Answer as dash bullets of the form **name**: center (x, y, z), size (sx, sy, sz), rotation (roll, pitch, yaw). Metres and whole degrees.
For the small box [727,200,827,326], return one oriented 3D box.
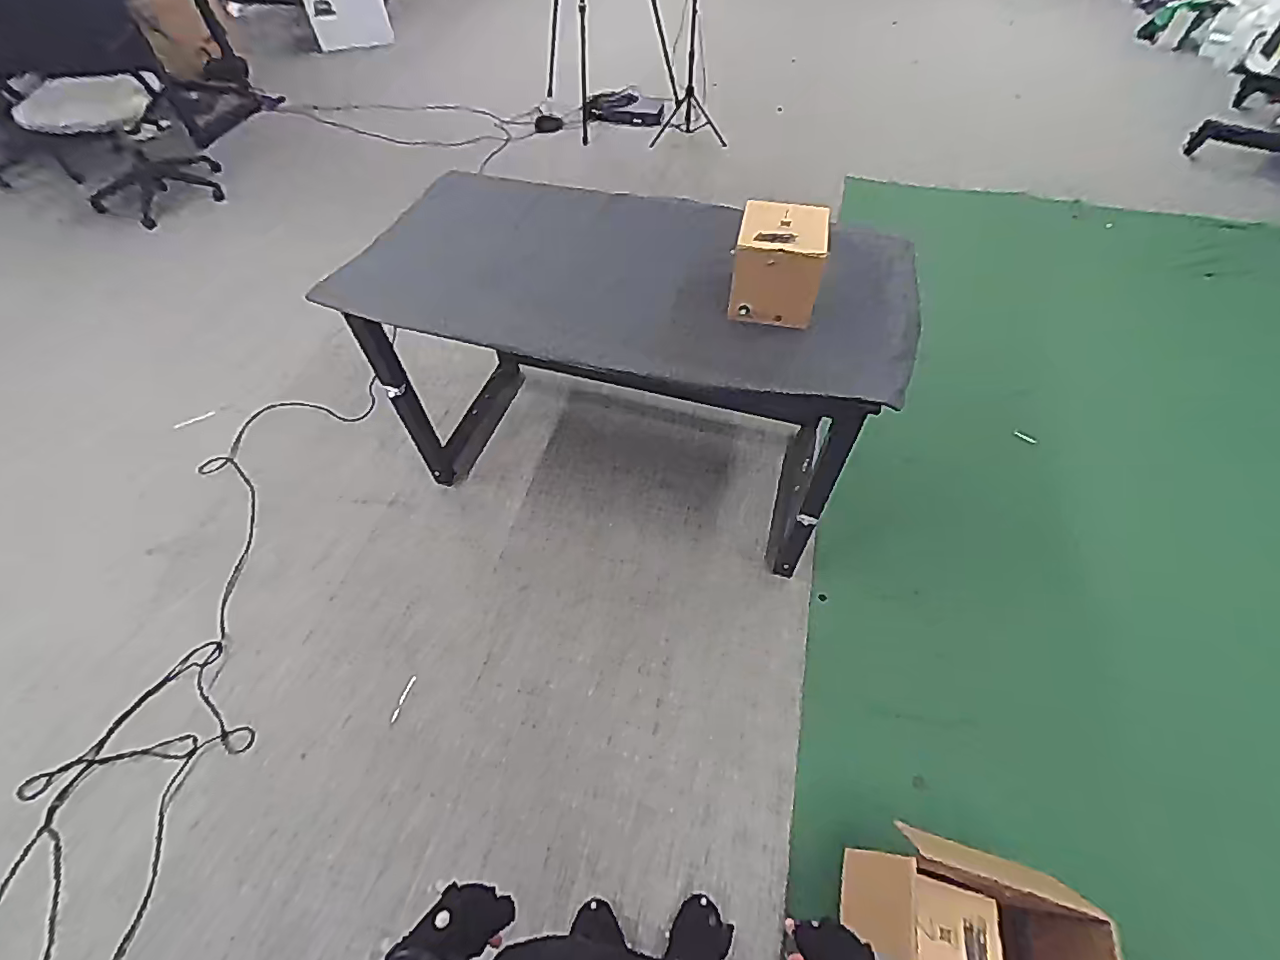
- **small box**: center (0.273, -0.437, 1.098), size (0.168, 0.176, 0.179), rotation (10, 54, 8)
